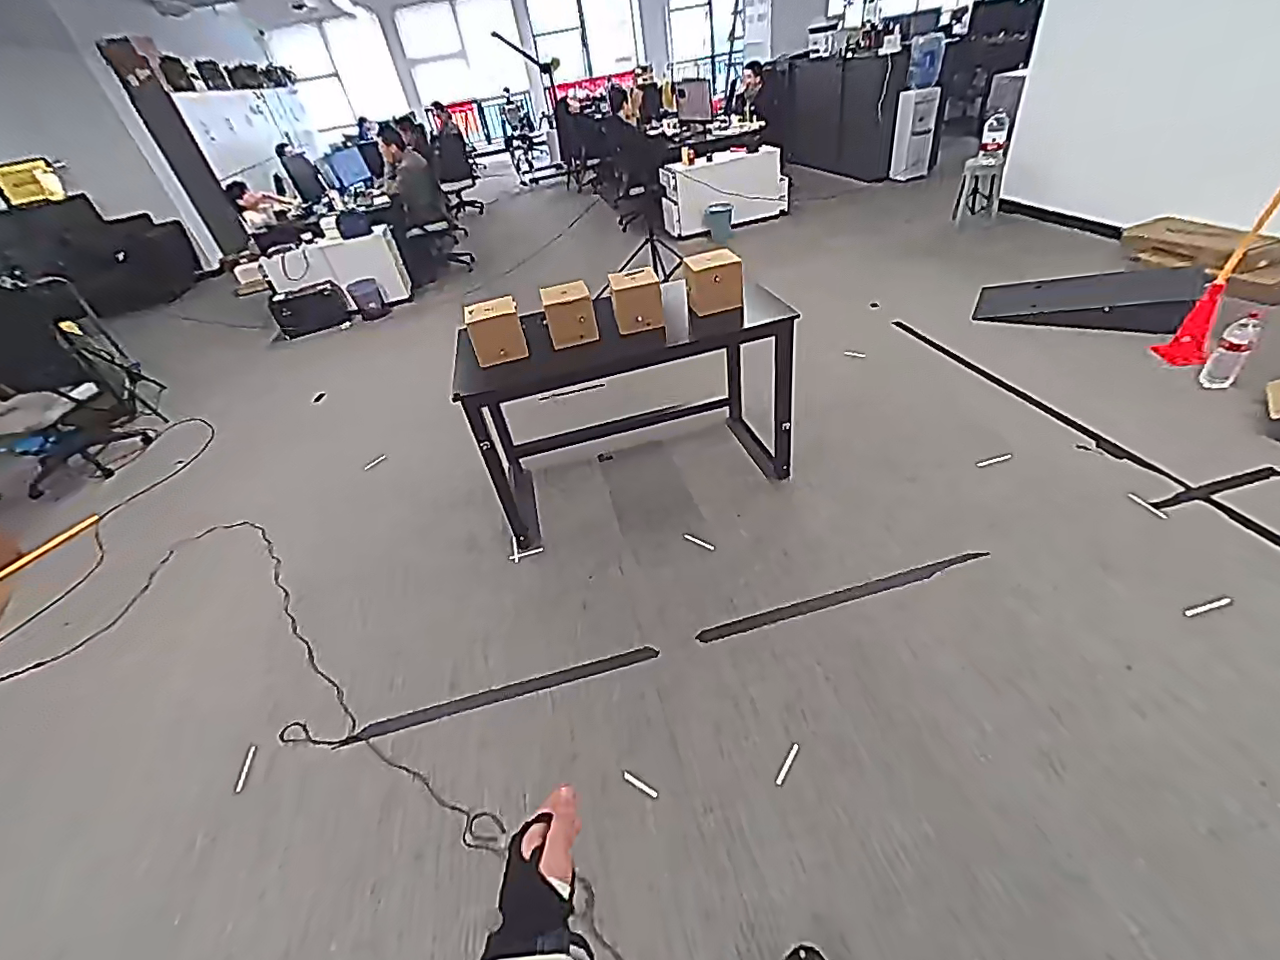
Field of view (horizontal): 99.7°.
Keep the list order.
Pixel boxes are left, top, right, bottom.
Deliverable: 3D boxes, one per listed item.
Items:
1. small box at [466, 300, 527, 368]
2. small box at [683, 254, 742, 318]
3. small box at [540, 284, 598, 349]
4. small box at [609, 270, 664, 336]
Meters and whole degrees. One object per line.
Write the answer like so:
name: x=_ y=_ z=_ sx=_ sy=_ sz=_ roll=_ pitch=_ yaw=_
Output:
small box: x=-0.507 y=-0.519 z=1.923 sx=0.179 sy=0.176 sz=0.168 roll=-15 pitch=38 yaw=-8
small box: x=0.269 y=-0.715 z=1.997 sx=0.179 sy=0.176 sz=0.168 roll=-14 pitch=38 yaw=-4
small box: x=-0.256 y=-0.588 z=1.958 sx=0.168 sy=0.176 sz=0.179 roll=-14 pitch=37 yaw=-7
small box: x=-0.013 y=-0.643 z=1.971 sx=0.168 sy=0.176 sz=0.179 roll=-12 pitch=39 yaw=-3
